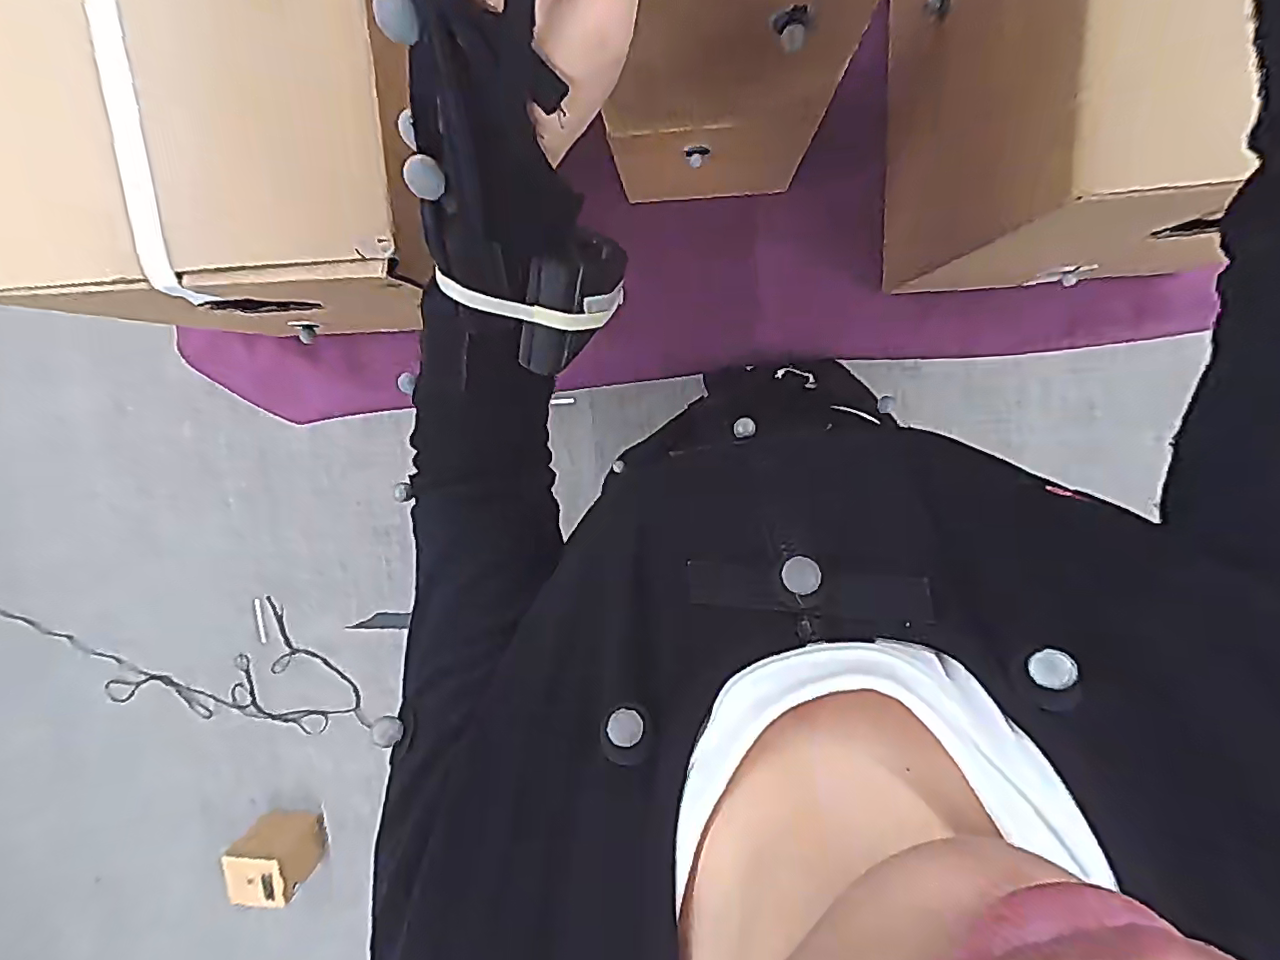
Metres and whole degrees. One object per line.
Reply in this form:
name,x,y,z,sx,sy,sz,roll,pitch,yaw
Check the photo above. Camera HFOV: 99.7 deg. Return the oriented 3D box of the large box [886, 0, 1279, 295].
large box,0.391,-0.384,0.399,0.320,0.320,0.408,-3,98,5
